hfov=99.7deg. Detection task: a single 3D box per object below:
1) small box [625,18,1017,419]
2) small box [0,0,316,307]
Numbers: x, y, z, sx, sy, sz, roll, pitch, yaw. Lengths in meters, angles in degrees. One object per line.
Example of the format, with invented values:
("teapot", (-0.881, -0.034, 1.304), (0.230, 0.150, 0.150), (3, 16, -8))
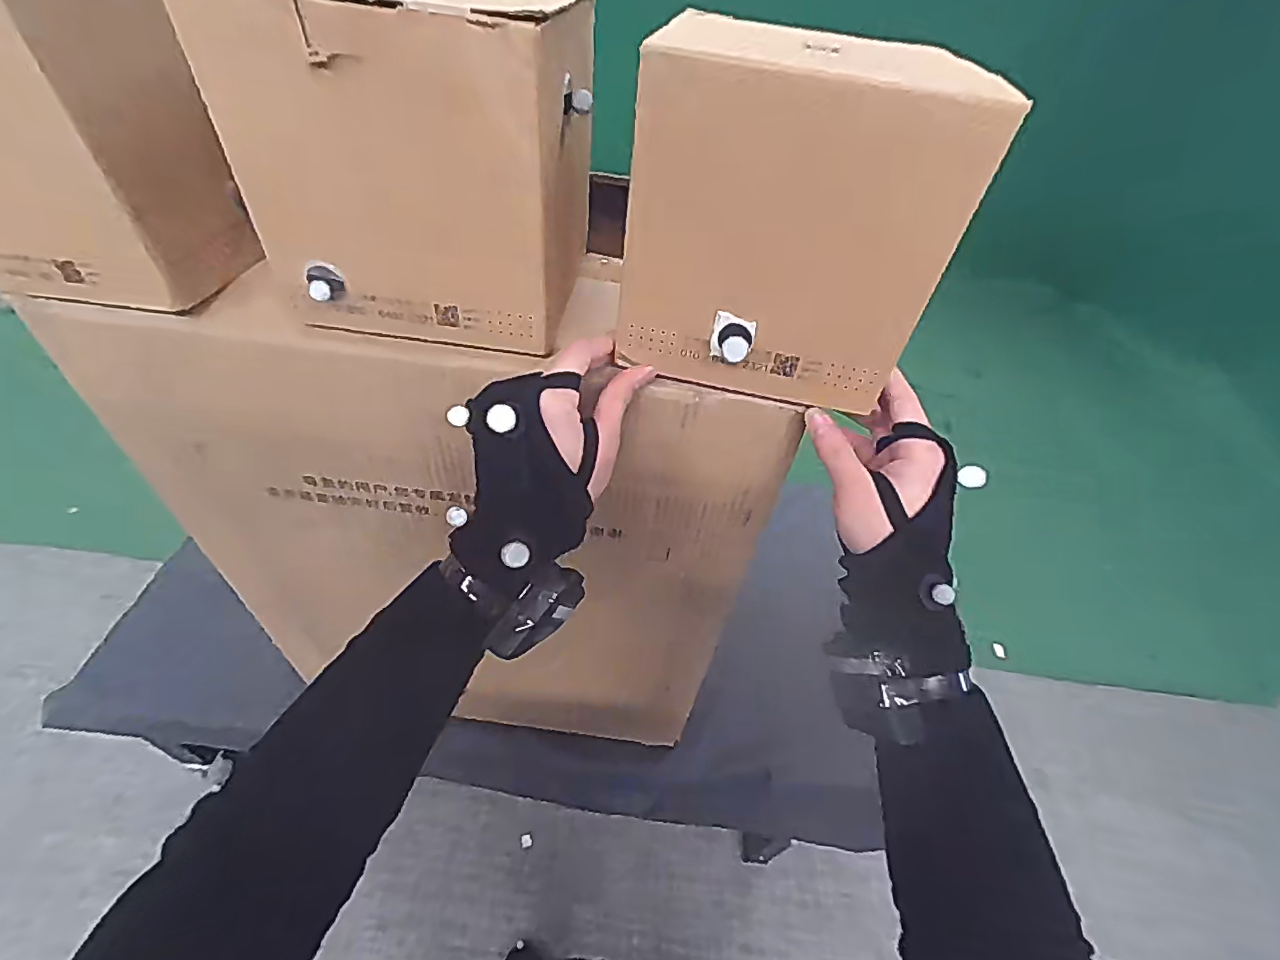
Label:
("small box", (0.087, -0.167, 0.350), (0.168, 0.176, 0.179), (10, 47, 2))
("small box", (-0.345, -0.235, 0.346), (0.168, 0.176, 0.179), (7, 46, 3))
